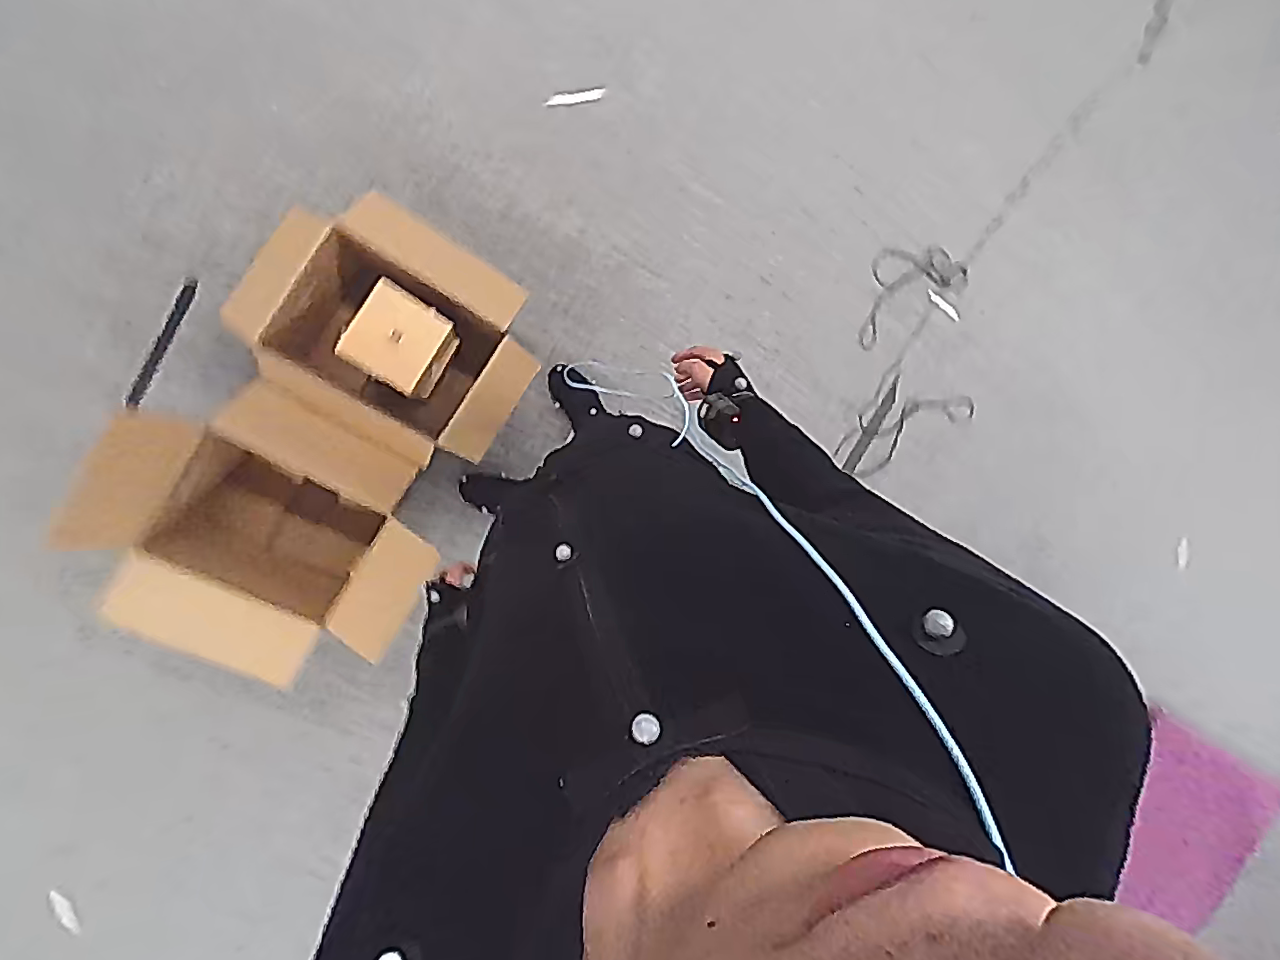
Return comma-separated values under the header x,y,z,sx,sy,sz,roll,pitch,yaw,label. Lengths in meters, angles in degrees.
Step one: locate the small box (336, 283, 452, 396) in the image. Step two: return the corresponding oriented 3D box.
x,y,z,sx,sy,sz,roll,pitch,yaw,label
-0.537,-0.304,1.204,0.168,0.176,0.179,31,88,-19,small box
